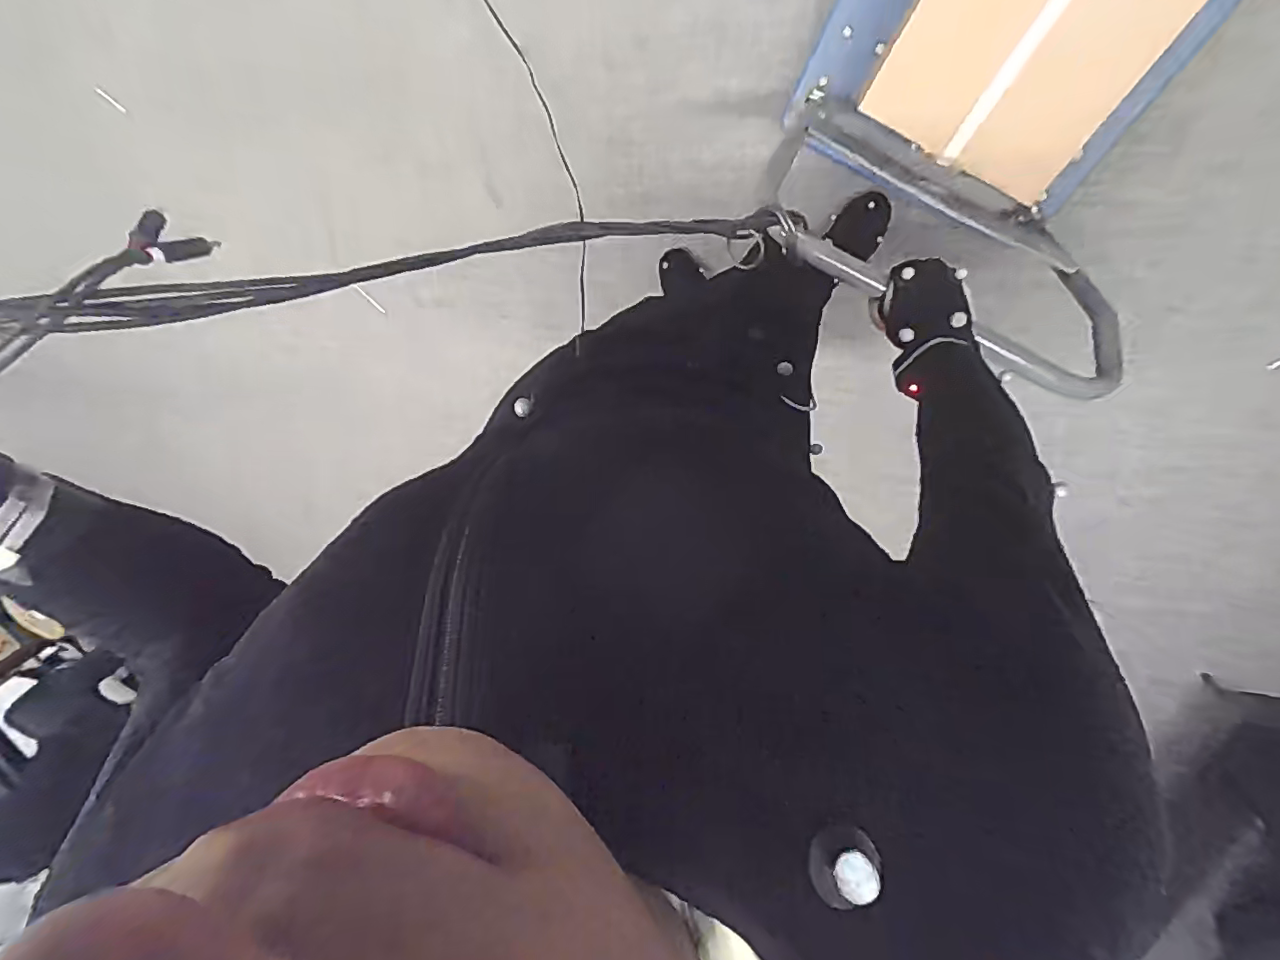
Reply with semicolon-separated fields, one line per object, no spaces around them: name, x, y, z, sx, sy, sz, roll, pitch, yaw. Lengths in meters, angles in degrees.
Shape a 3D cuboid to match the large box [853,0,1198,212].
large box;0.589;-0.712;0.851;0.320;0.320;0.408;30;129;-2
